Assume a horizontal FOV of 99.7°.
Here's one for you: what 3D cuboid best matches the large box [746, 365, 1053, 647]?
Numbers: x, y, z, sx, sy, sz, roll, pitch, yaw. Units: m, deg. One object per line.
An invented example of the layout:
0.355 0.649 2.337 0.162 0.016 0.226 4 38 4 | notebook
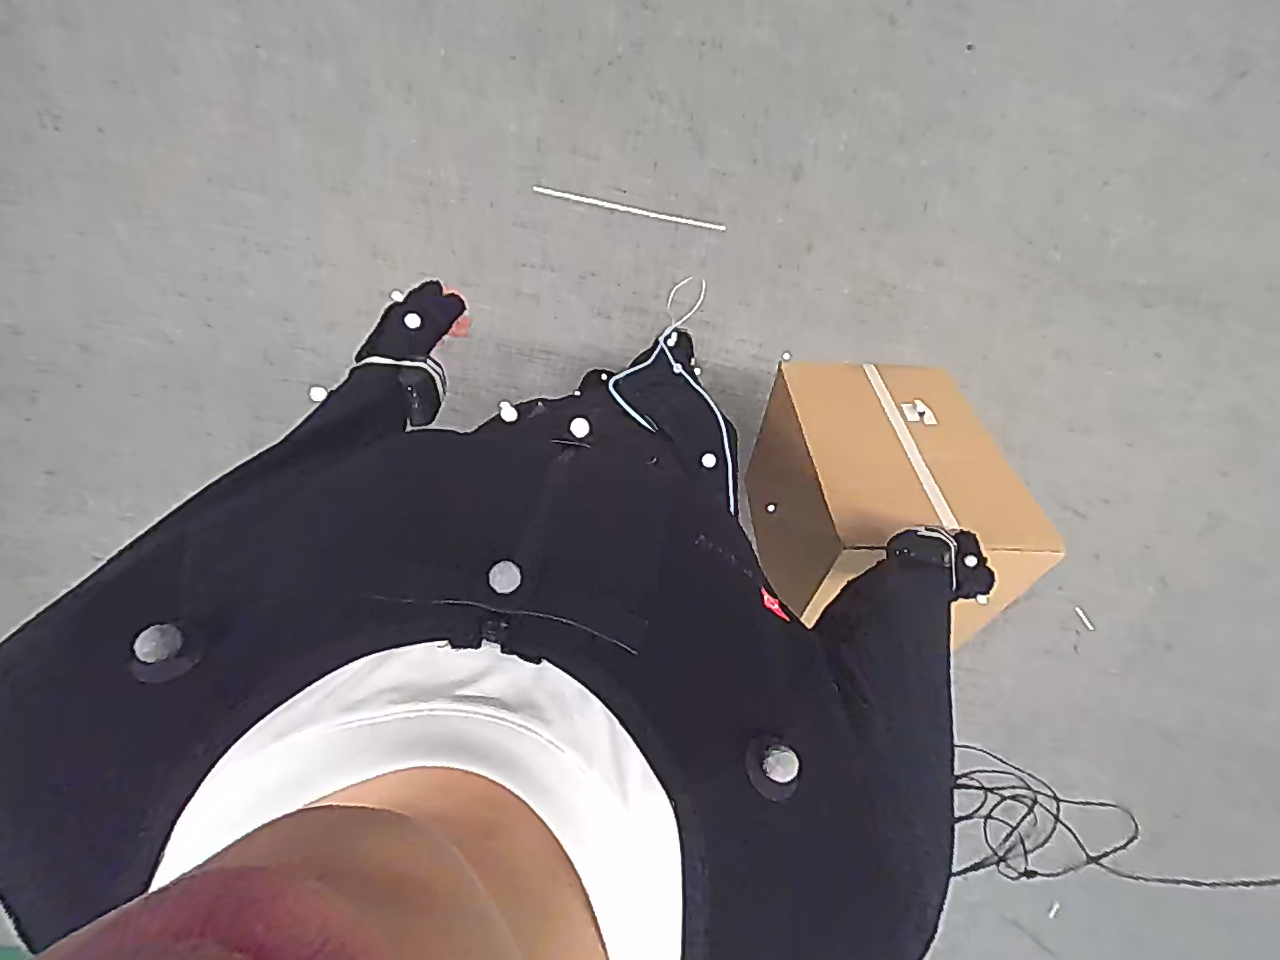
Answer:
0.396 0.046 0.963 0.320 0.408 0.320 3 137 -5 | large box
